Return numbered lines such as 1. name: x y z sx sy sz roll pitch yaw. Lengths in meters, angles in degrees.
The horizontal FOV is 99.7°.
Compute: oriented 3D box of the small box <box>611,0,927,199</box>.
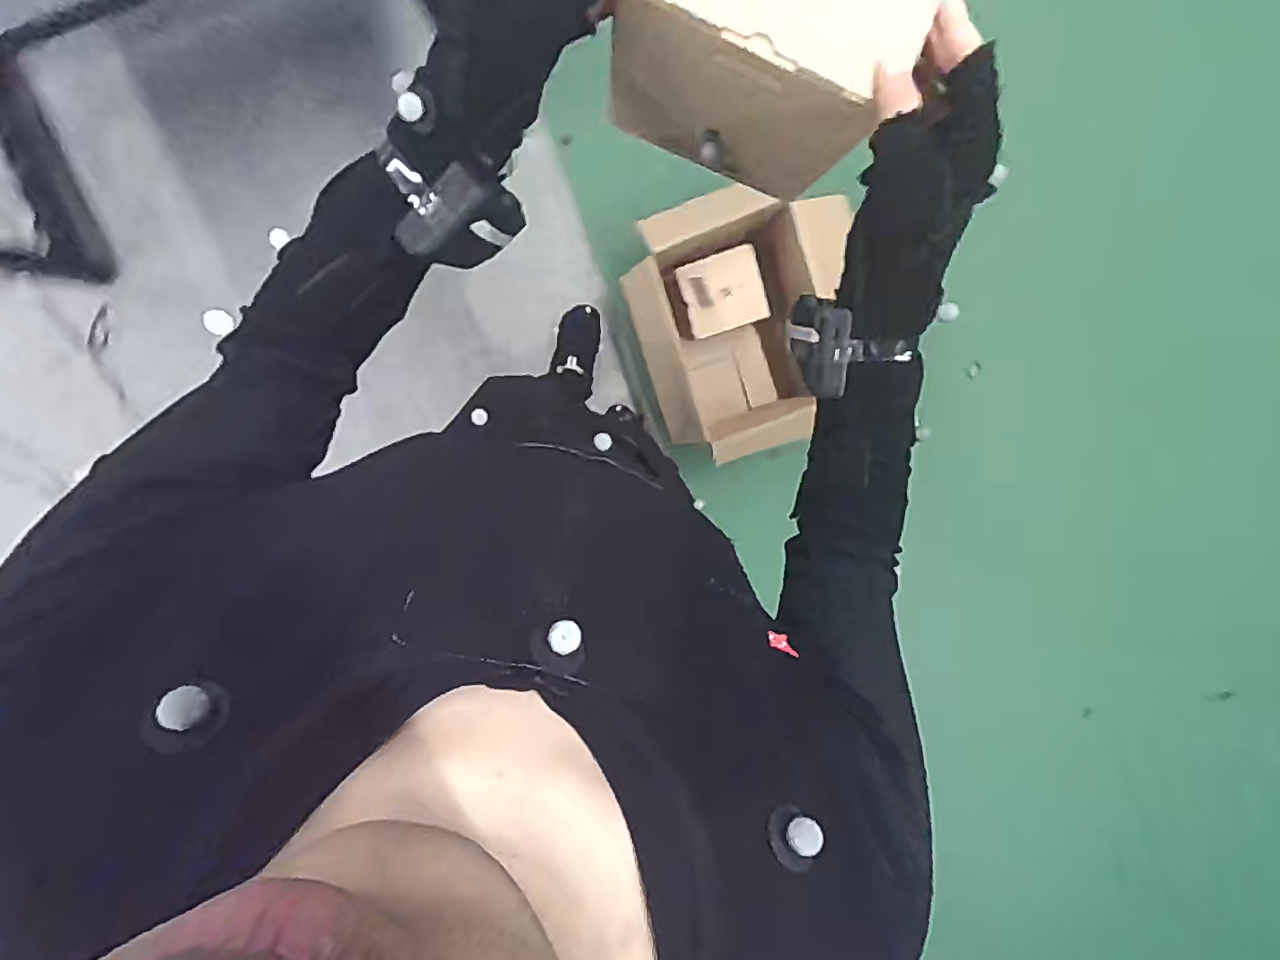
1. small box: 0.081 -0.324 0.357 0.168 0.176 0.179 18 99 -8
